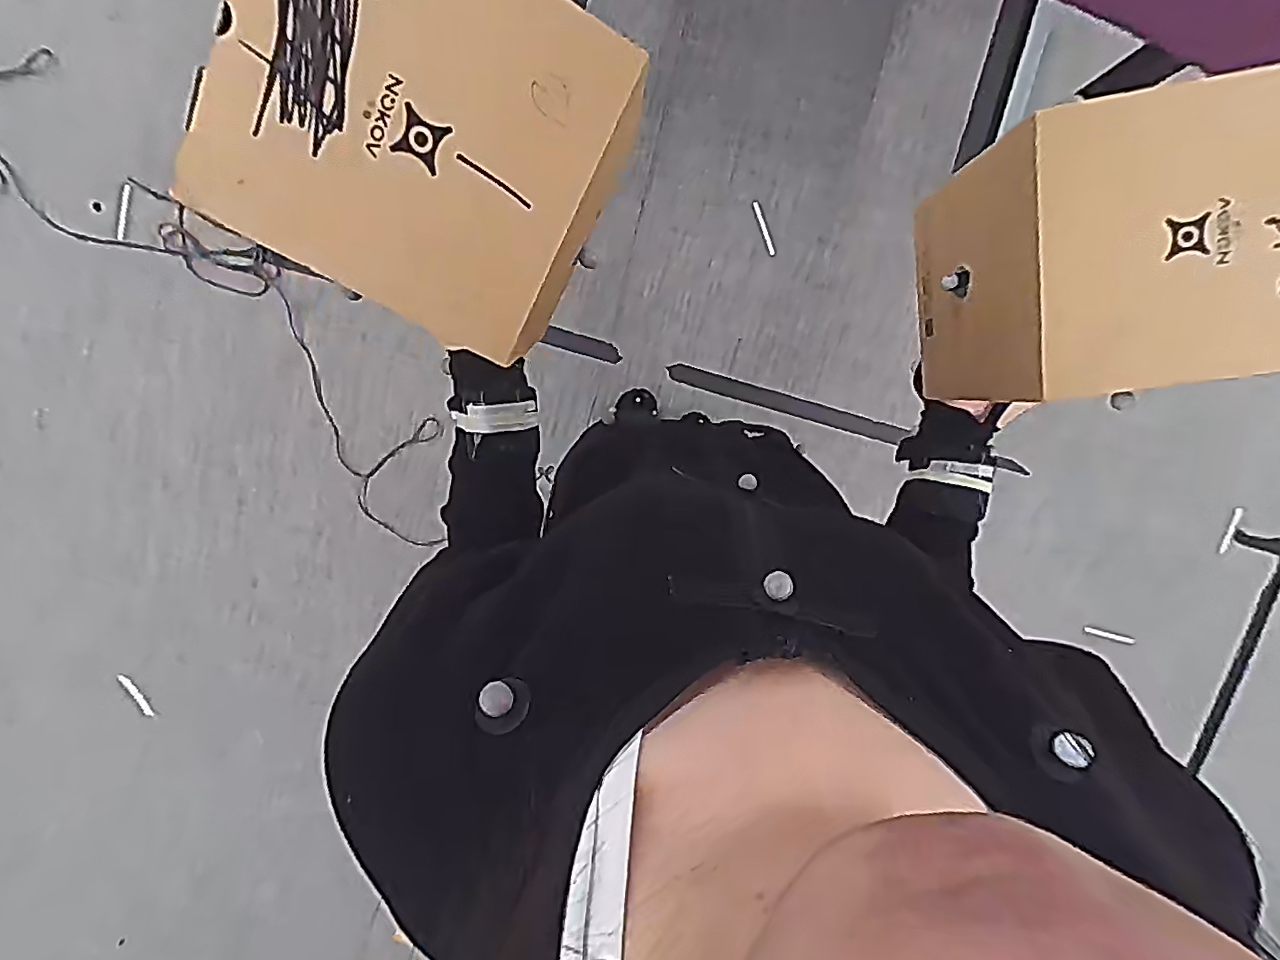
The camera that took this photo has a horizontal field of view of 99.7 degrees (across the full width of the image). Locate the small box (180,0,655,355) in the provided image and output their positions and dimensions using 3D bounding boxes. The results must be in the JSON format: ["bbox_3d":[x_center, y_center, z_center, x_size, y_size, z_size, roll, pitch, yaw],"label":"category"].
[{"bbox_3d":[-0.111,-0.196,0.330,0.179,0.176,0.168,26,106,-13],"label":"small box"}]

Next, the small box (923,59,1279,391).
[{"bbox_3d":[0.321,-0.155,0.386,0.179,0.176,0.168,-7,99,5],"label":"small box"}]
